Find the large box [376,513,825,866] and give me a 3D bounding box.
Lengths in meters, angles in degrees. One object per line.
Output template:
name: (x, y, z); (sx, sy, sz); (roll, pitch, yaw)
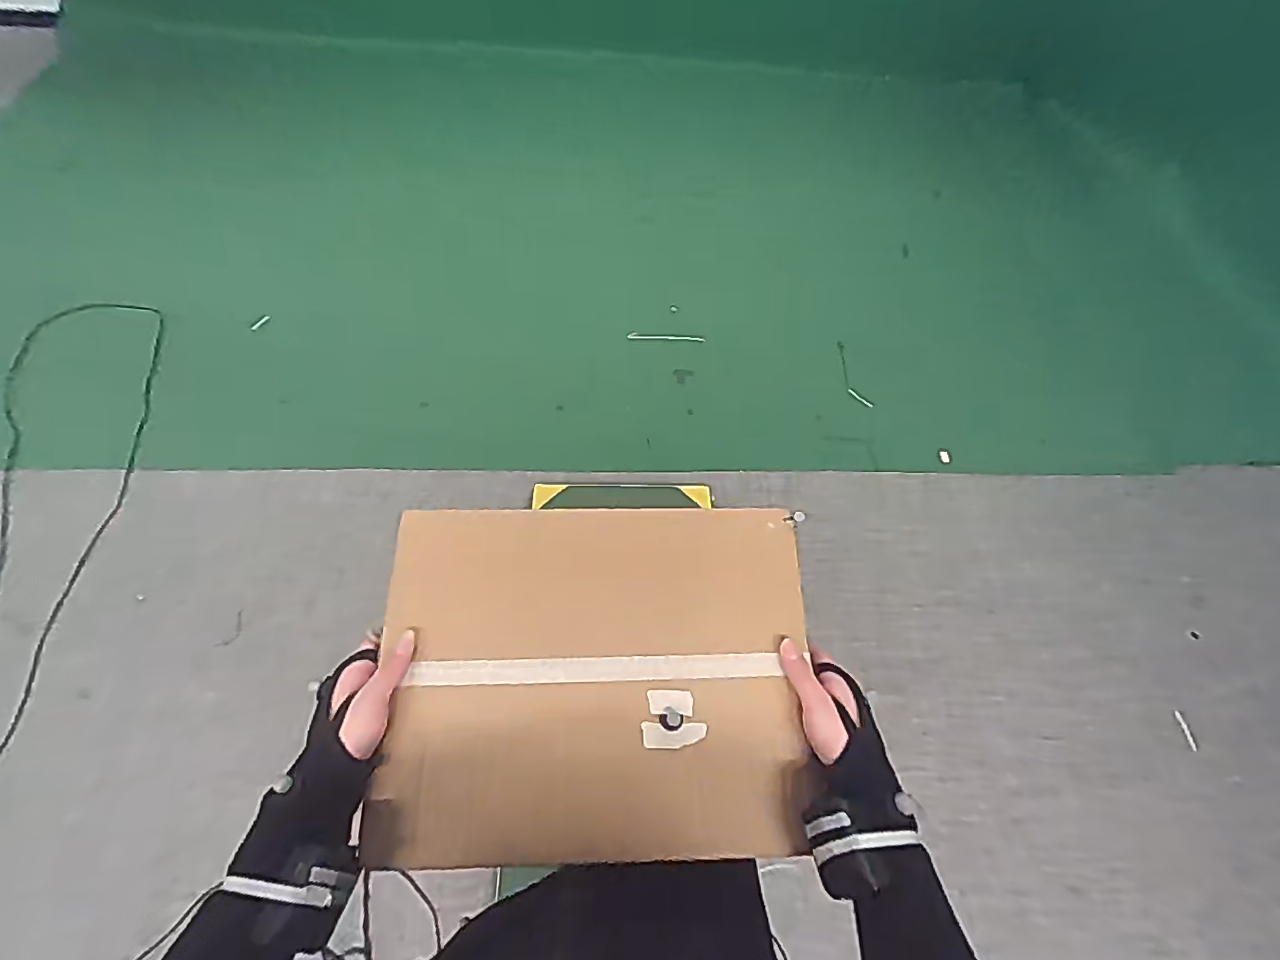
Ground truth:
large box: (-0.045, 0.236, 0.663); (0.408, 0.320, 0.320); (0, 70, -4)
